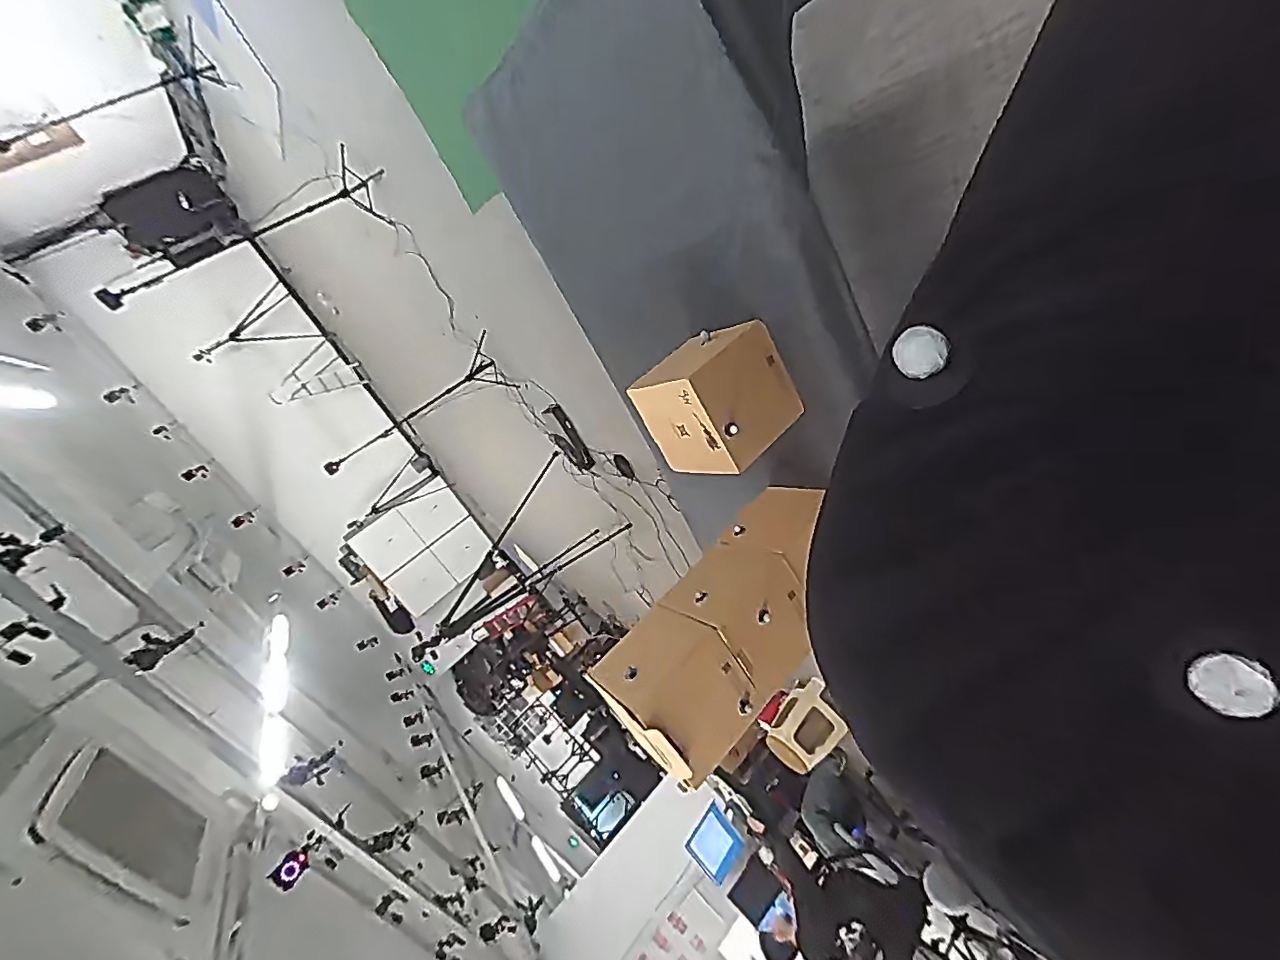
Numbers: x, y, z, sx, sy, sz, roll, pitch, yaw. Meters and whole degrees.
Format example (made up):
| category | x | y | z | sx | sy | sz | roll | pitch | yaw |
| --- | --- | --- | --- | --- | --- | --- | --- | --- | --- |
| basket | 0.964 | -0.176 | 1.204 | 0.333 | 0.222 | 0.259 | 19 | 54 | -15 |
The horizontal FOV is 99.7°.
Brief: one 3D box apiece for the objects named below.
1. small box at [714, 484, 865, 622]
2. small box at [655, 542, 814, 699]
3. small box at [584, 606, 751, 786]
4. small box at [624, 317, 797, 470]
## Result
| category | x | y | z | sx | sy | sz | roll | pitch | yaw |
| --- | --- | --- | --- | --- | --- | --- | --- | --- | --- |
| small box | 0.275 | 0.121 | 0.972 | 0.168 | 0.176 | 0.179 | 57 | 156 | -19 |
| small box | 0.165 | 0.222 | 0.908 | 0.168 | 0.176 | 0.179 | 57 | 157 | -18 |
| small box | 0.049 | 0.322 | 0.846 | 0.168 | 0.176 | 0.179 | 57 | 157 | -16 |
| small box | 0.112 | -0.134 | 0.857 | 0.179 | 0.176 | 0.168 | 6 | 133 | 59 |
